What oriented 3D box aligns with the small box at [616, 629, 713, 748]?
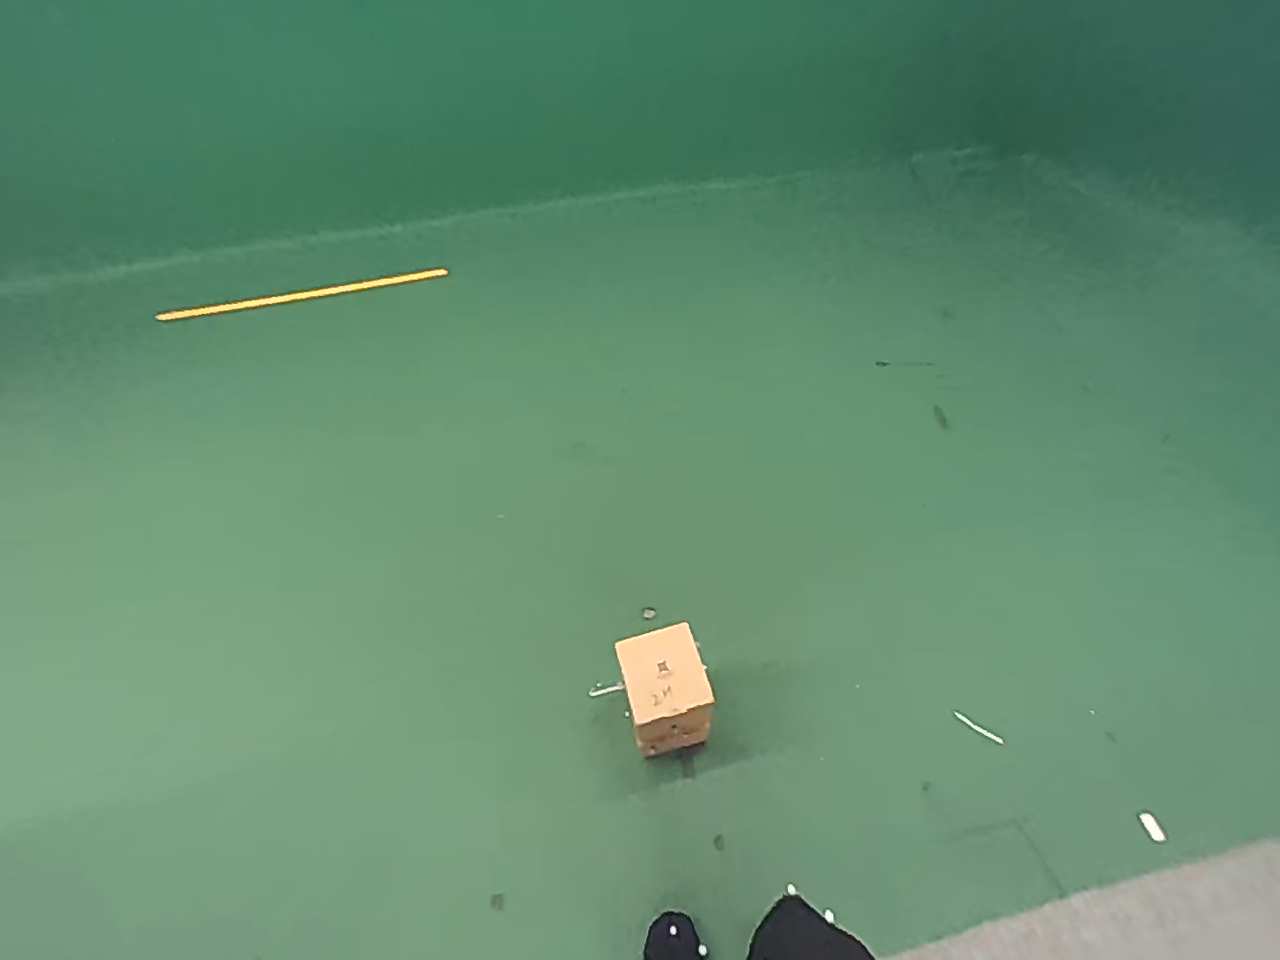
[{"bbox_3d":[0.048,0.456,1.176,0.168,0.176,0.179,-14,54,-8],"label":"small box"}]
